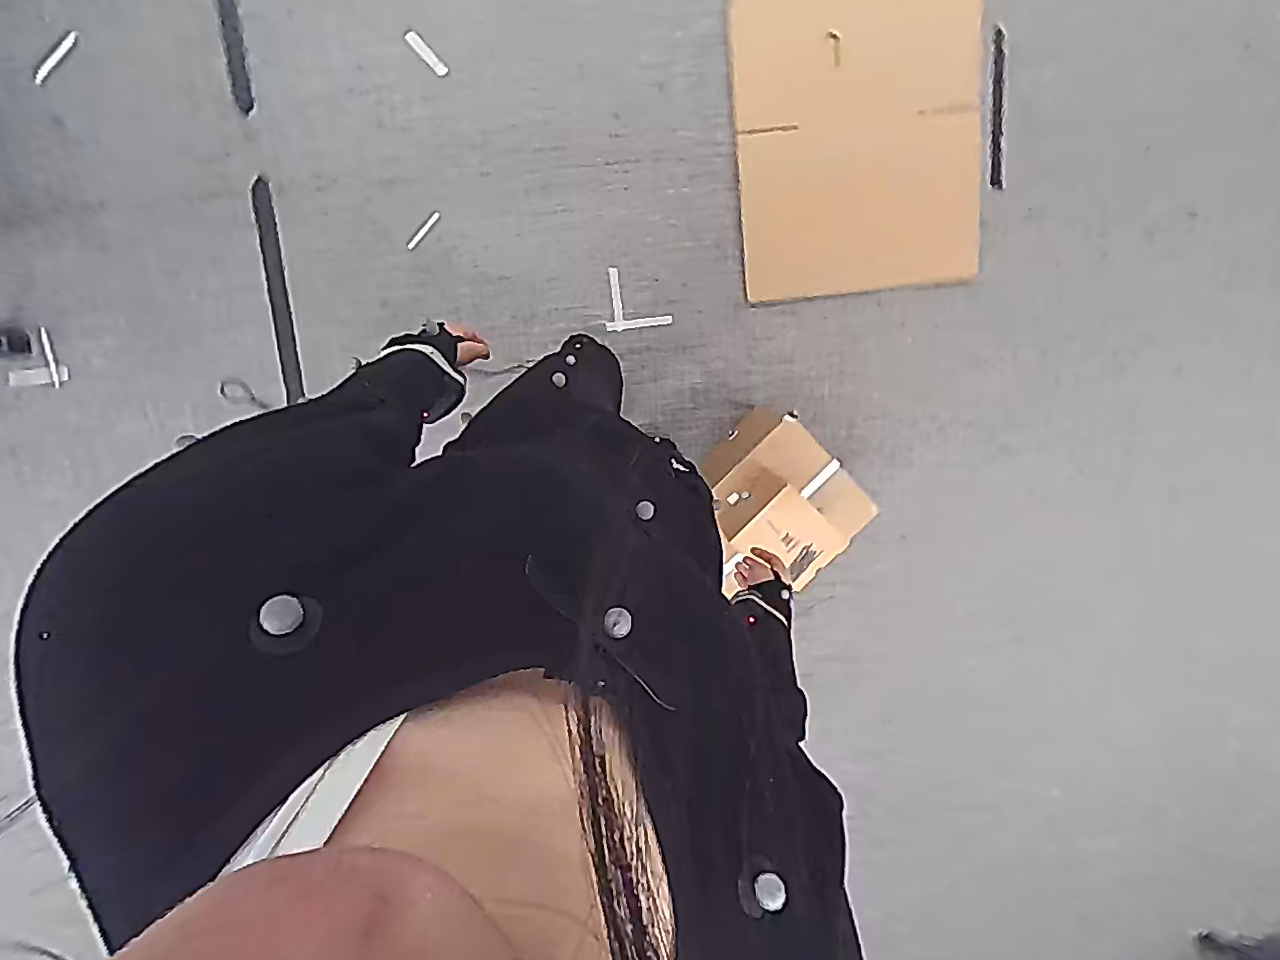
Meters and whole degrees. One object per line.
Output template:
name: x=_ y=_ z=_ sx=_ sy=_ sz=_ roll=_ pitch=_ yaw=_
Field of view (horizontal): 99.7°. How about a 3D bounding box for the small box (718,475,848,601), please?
small box: x=0.286 y=0.109 z=1.120 sx=0.179 sy=0.176 sz=0.168 roll=44 pitch=97 yaw=-8
